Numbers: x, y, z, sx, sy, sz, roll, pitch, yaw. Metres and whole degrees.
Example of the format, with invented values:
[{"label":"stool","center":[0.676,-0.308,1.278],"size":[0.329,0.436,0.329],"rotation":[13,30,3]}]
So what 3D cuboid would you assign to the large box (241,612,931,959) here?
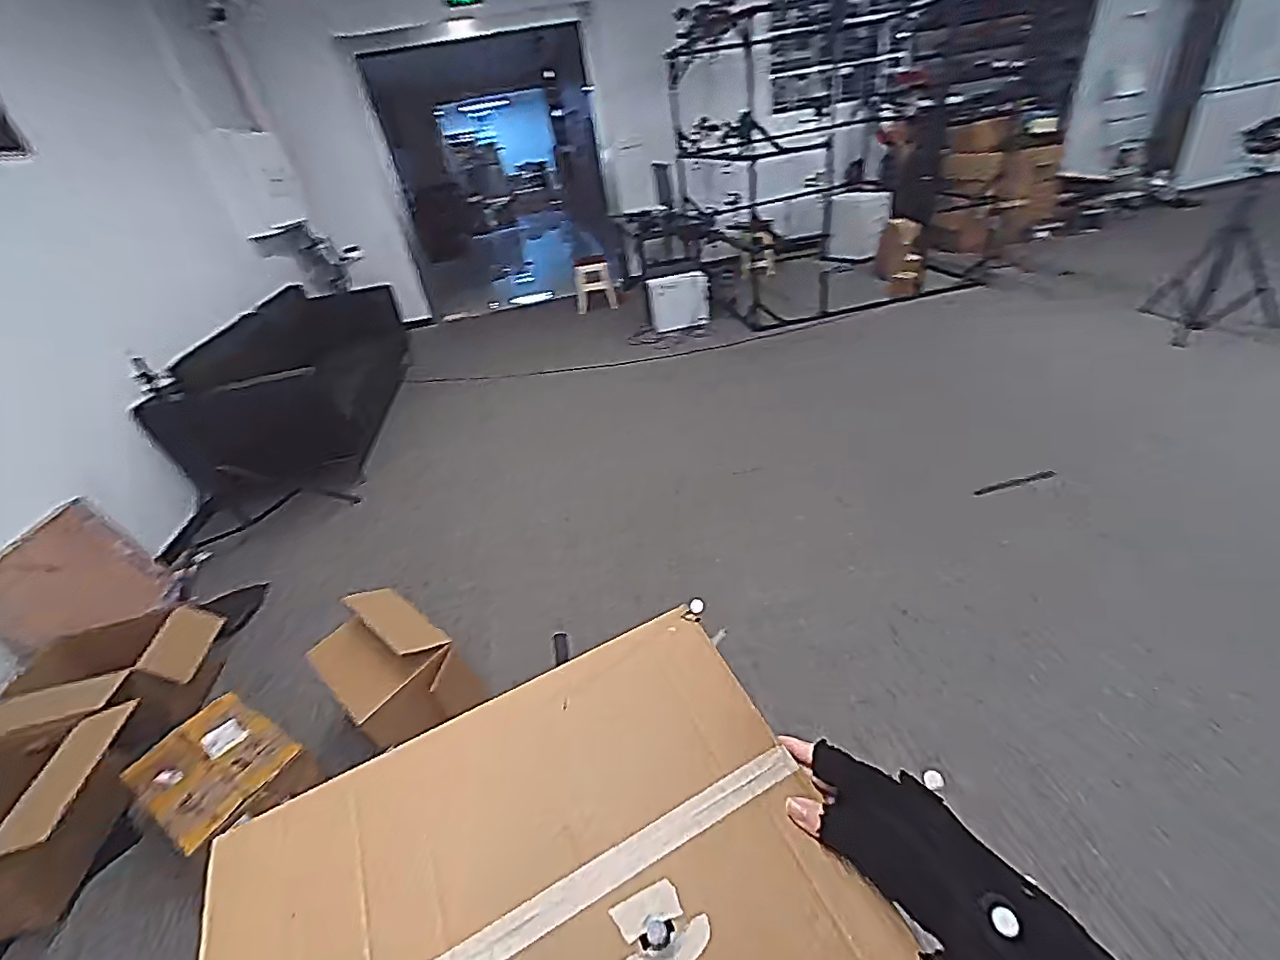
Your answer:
[{"label":"large box","center":[-0.047,0.395,0.466],"size":[0.408,0.320,0.320],"rotation":[-21,46,-16]}]
